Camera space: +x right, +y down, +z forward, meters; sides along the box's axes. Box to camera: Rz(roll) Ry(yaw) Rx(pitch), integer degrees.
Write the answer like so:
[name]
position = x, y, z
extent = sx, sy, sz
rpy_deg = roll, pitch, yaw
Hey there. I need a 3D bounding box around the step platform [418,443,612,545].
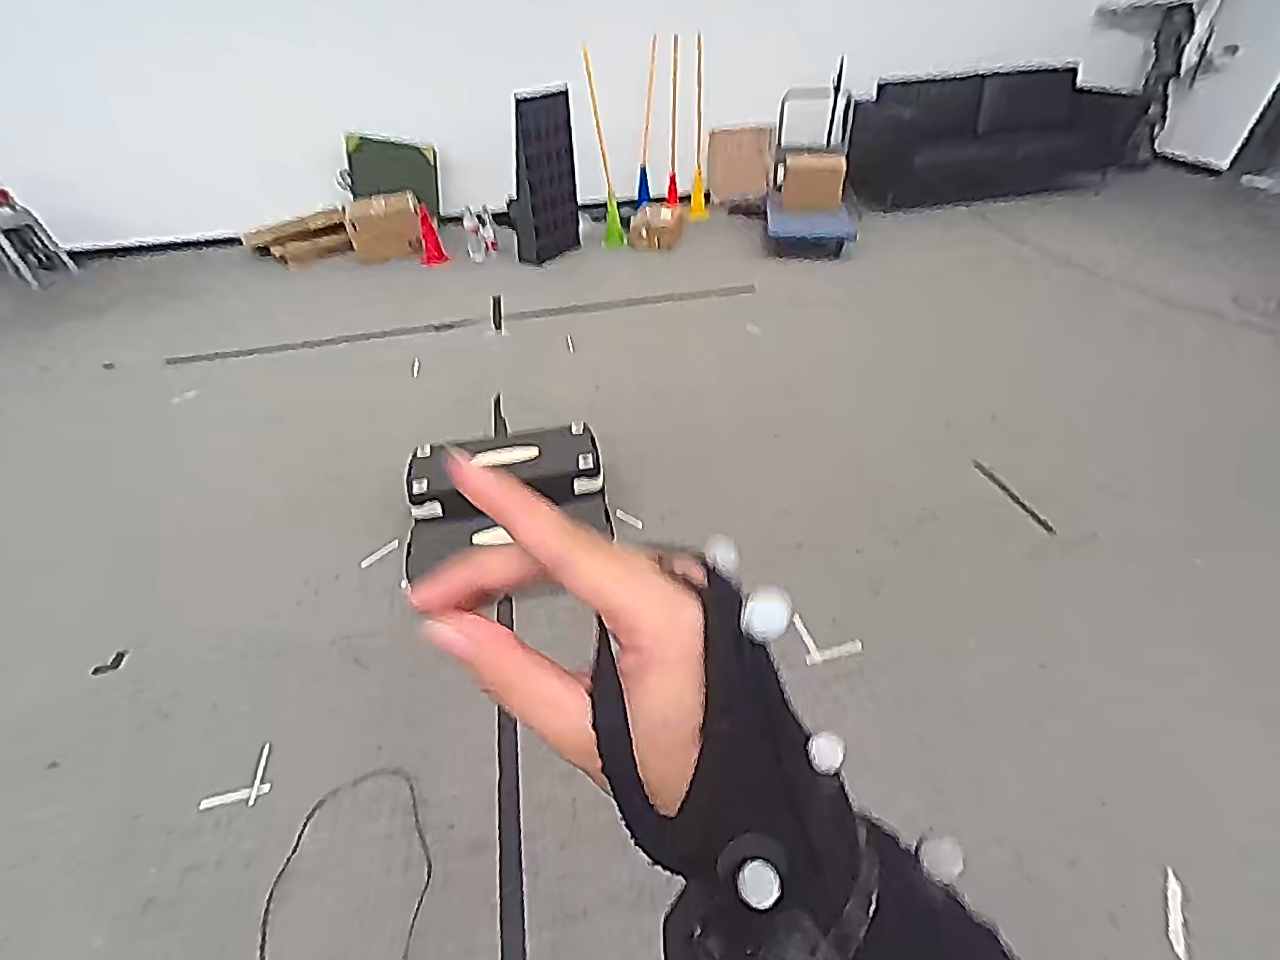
[step platform]
position = -0.450, 0.040, 1.990
extent = 0.684, 0.204, 0.286
rpy_deg = -6, 41, -5
